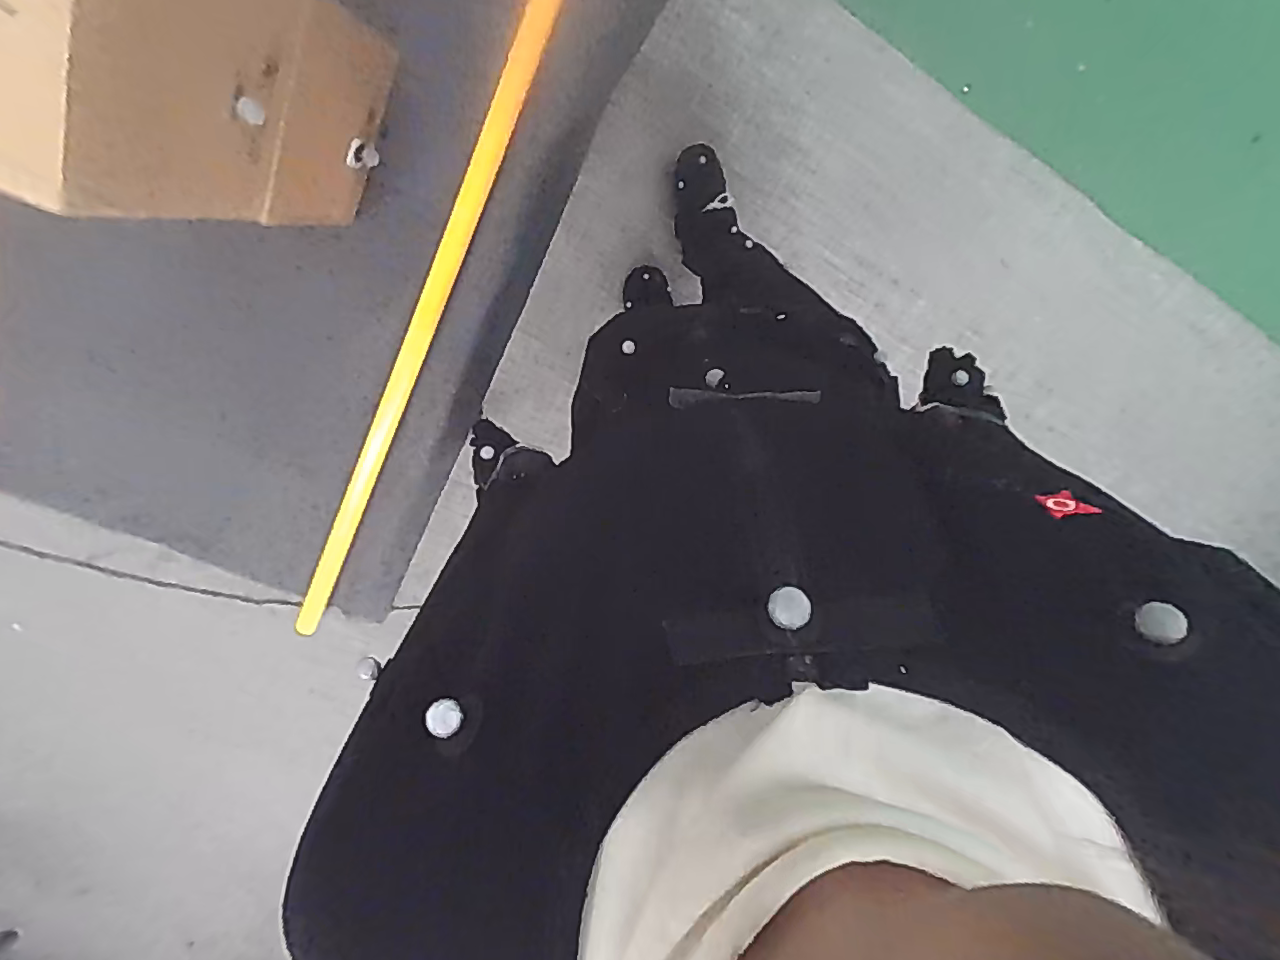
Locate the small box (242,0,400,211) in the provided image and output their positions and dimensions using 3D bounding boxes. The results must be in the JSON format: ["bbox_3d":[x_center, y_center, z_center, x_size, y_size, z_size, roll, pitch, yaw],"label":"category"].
[{"bbox_3d":[-0.333,-0.342,0.450,0.179,0.176,0.168,22,113,-13],"label":"small box"}]

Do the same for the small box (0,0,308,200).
[{"bbox_3d":[-0.330,-0.274,0.300,0.179,0.176,0.168,24,113,-13],"label":"small box"}]
